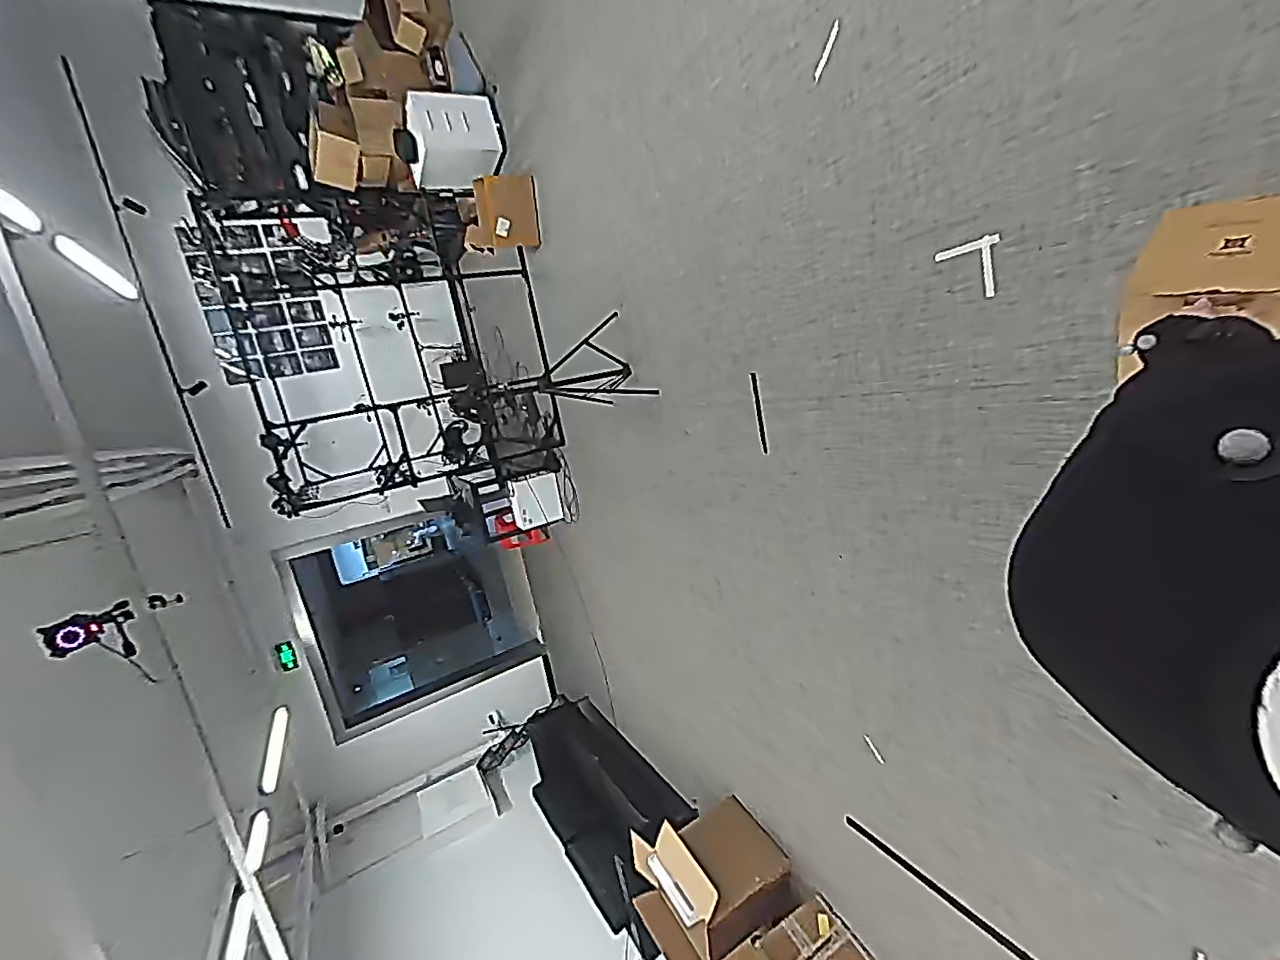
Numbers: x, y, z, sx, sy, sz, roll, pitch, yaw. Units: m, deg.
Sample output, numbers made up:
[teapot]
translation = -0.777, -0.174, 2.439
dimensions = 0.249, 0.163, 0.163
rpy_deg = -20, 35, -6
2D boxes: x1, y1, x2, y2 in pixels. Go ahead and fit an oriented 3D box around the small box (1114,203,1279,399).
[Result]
[small box]
translation = 0.743, -0.224, 0.695
dimensions = 0.168, 0.179, 0.176
rpy_deg = 19, 154, 48
